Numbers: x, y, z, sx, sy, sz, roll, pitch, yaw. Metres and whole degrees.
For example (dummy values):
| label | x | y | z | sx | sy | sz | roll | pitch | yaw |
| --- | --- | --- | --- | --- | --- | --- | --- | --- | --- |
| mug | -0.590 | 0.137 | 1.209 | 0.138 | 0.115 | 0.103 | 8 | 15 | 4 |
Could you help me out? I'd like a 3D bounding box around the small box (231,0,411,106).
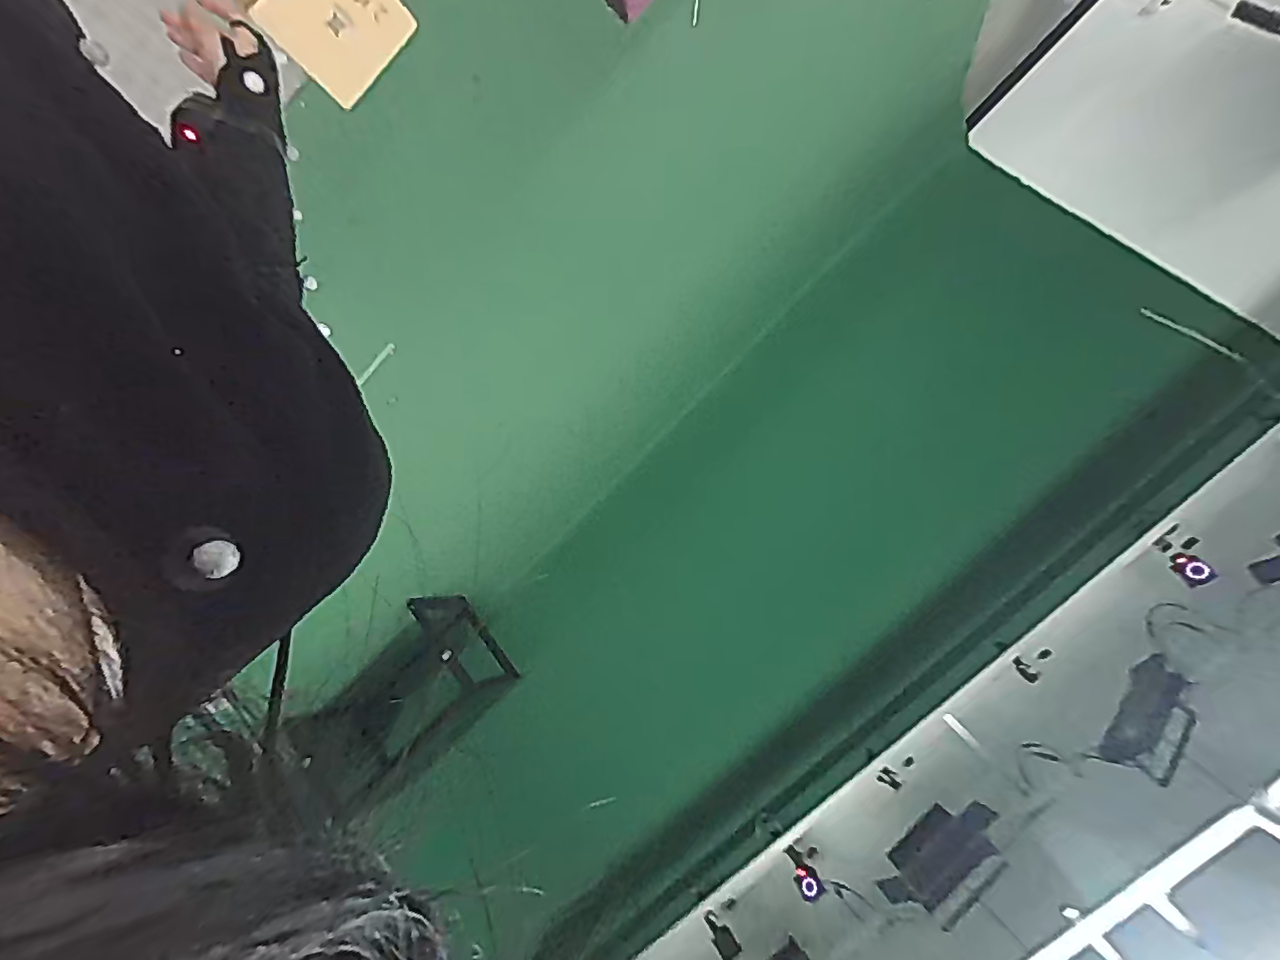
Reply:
| label | x | y | z | sx | sy | sz | roll | pitch | yaw |
| --- | --- | --- | --- | --- | --- | --- | --- | --- | --- |
| small box | -0.486 | -0.716 | 0.792 | 0.179 | 0.176 | 0.168 | -44 | 163 | 7 |
